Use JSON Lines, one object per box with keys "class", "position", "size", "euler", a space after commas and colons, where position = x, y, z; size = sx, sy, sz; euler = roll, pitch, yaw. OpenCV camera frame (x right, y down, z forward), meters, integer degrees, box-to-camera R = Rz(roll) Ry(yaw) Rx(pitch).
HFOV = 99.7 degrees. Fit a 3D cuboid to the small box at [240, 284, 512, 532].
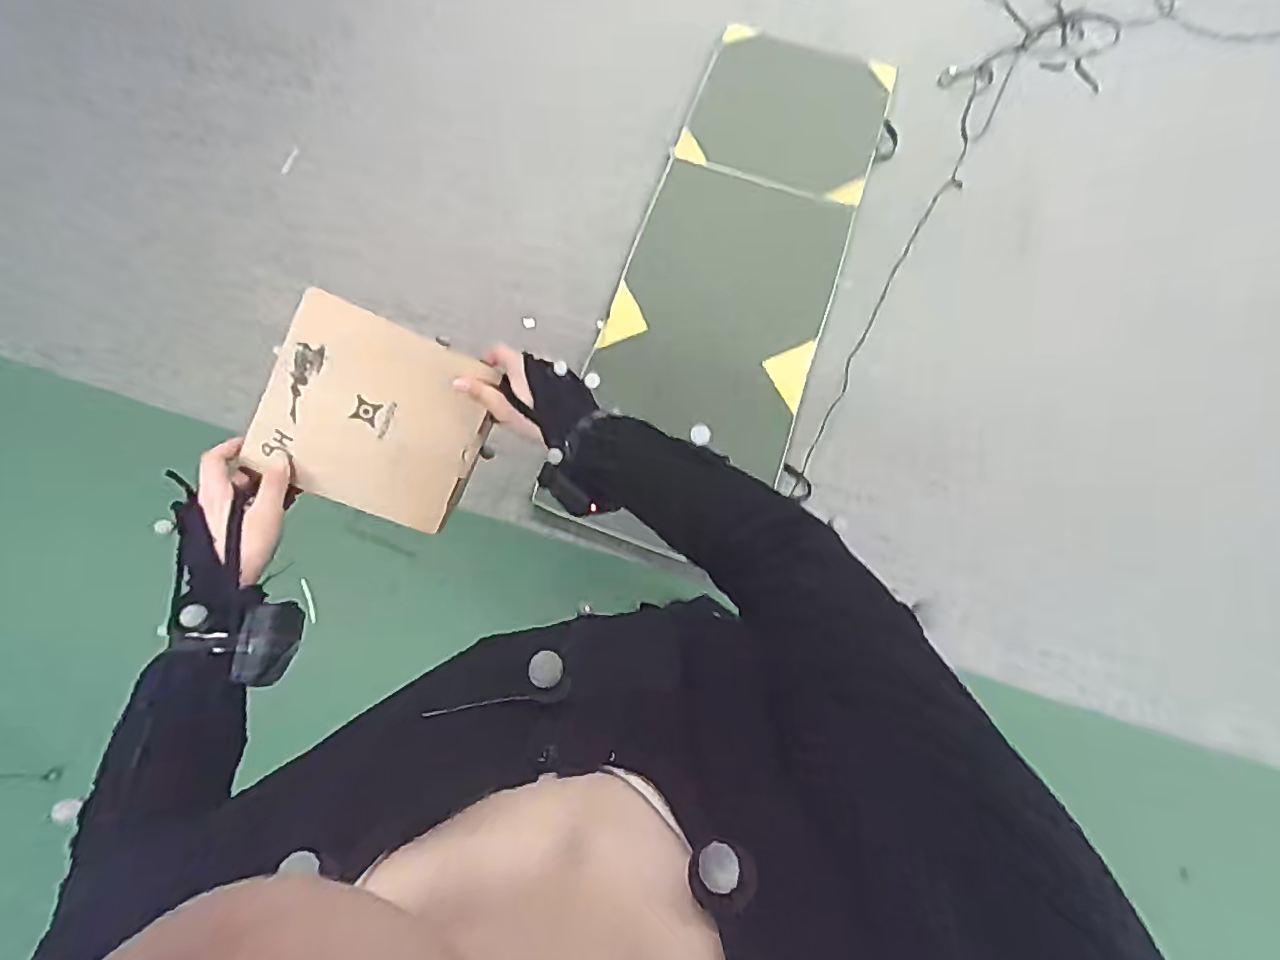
{"class": "small box", "position": [-0.242, -0.070, 0.546], "size": [0.179, 0.176, 0.168], "euler": [24, 92, -15]}
